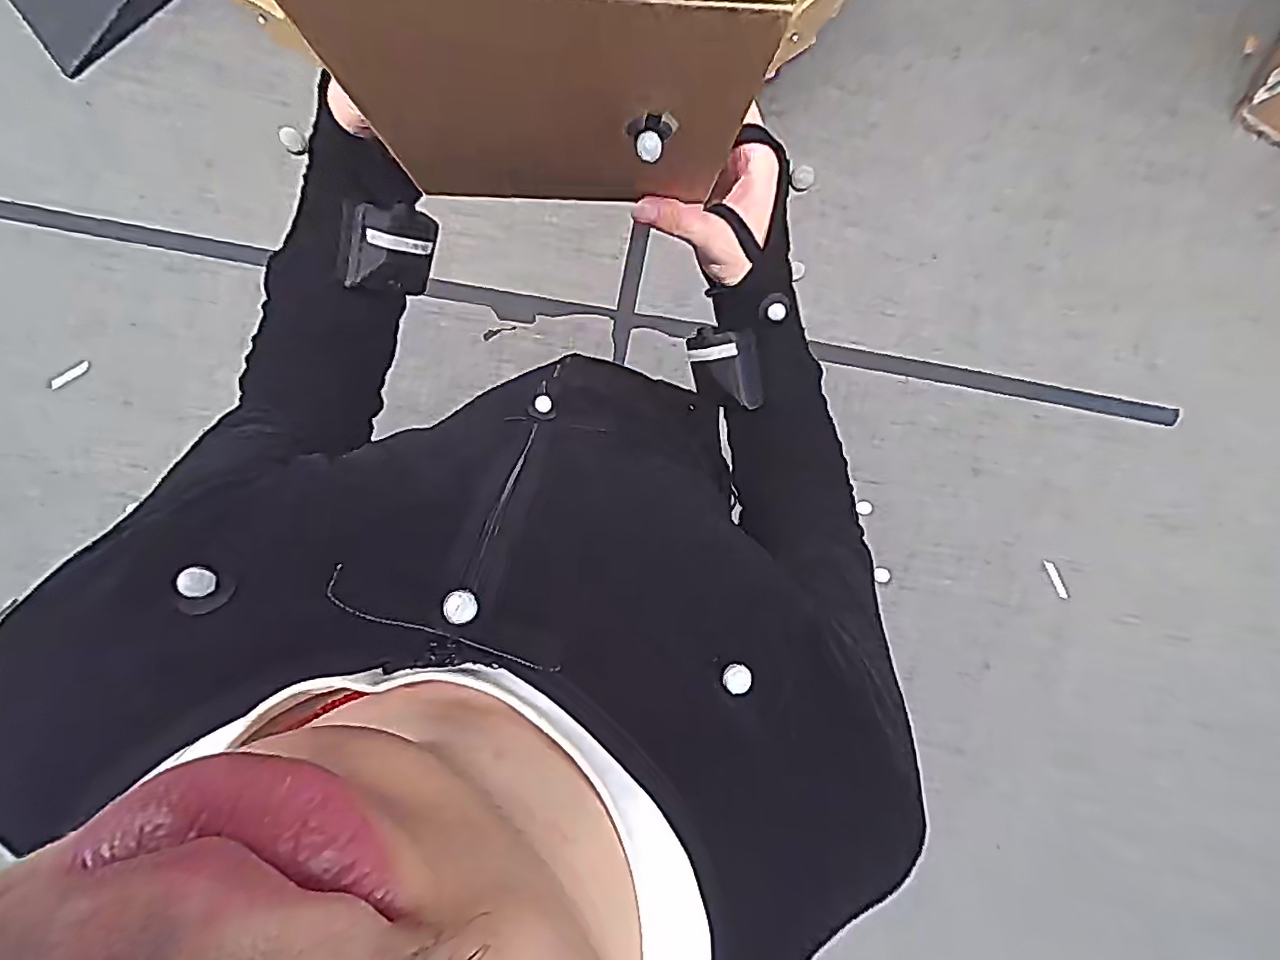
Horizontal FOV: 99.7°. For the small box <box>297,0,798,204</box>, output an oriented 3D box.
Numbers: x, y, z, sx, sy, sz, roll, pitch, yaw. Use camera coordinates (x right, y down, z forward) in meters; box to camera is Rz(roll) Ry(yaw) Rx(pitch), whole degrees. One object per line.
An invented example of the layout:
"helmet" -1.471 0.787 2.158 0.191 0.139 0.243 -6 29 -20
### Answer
"small box" -0.036 -0.249 0.256 0.179 0.176 0.168 -1 95 -4
